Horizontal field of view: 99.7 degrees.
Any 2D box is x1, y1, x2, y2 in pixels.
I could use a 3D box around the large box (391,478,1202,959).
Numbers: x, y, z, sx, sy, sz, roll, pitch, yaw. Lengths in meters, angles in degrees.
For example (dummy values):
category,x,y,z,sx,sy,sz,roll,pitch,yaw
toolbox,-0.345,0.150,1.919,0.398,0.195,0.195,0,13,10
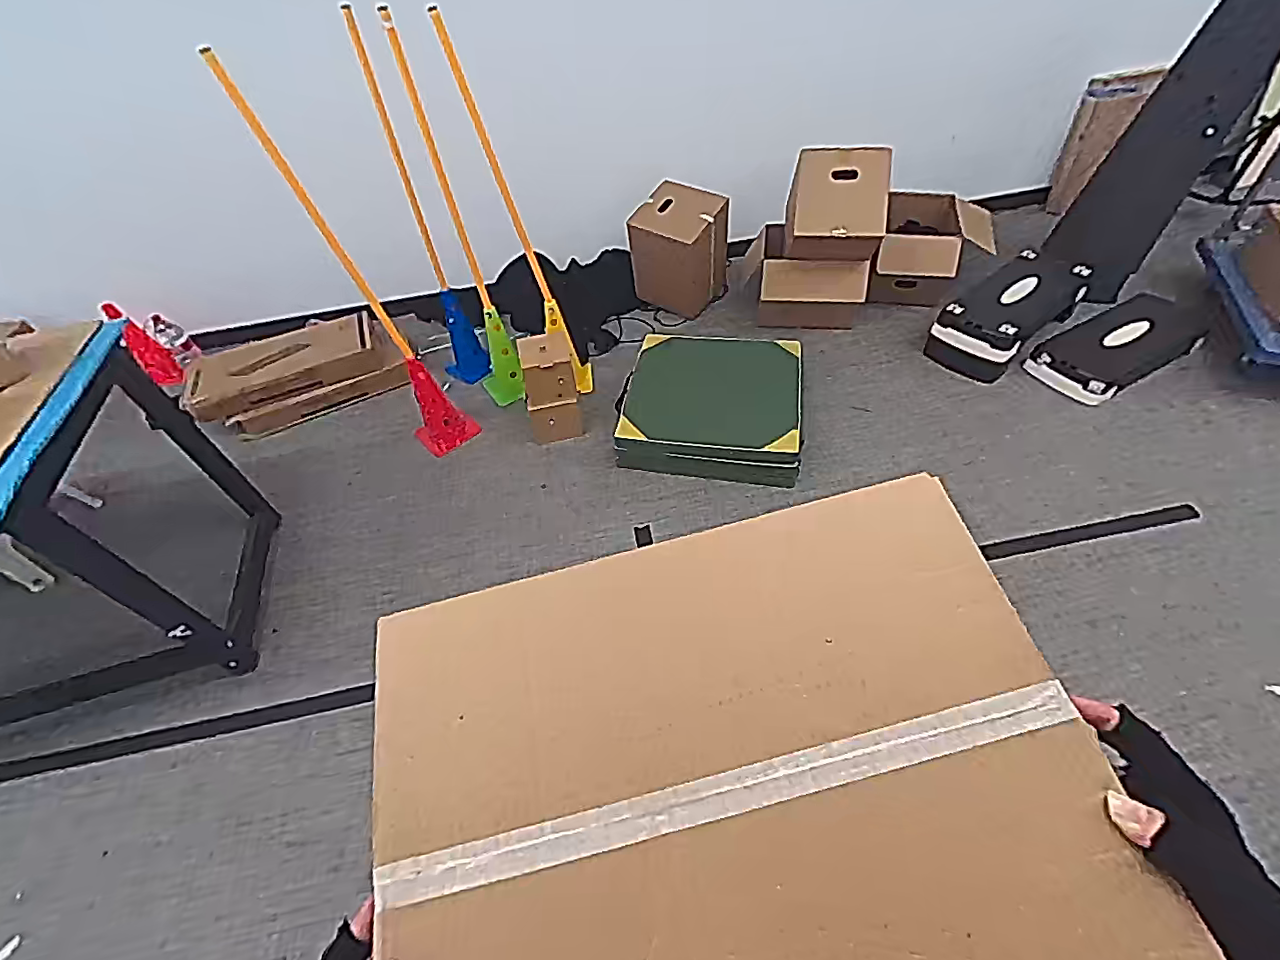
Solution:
category,x,y,z,sx,sy,sz,roll,pitch,yaw
large box,0.068,0.247,0.447,0.408,0.320,0.320,-15,60,0
